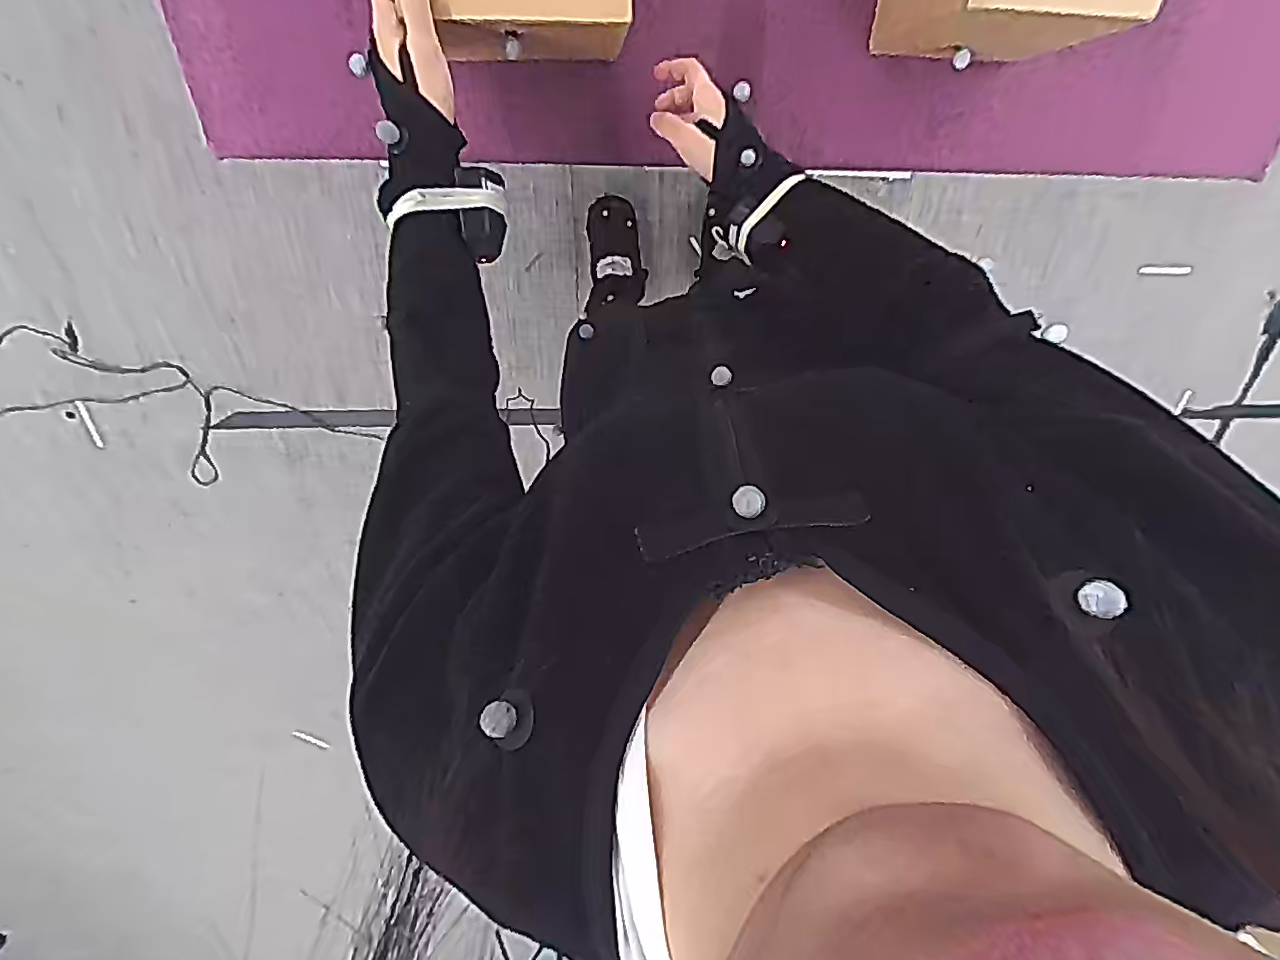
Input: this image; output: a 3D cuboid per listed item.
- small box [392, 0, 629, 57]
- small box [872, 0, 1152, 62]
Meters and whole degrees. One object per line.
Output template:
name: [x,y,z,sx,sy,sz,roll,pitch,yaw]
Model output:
small box: [-0.103,-0.457,0.434,0.179,0.176,0.168,-3,121,-4]
small box: [0.325,-0.489,0.463,0.168,0.176,0.179,-1,119,-5]
